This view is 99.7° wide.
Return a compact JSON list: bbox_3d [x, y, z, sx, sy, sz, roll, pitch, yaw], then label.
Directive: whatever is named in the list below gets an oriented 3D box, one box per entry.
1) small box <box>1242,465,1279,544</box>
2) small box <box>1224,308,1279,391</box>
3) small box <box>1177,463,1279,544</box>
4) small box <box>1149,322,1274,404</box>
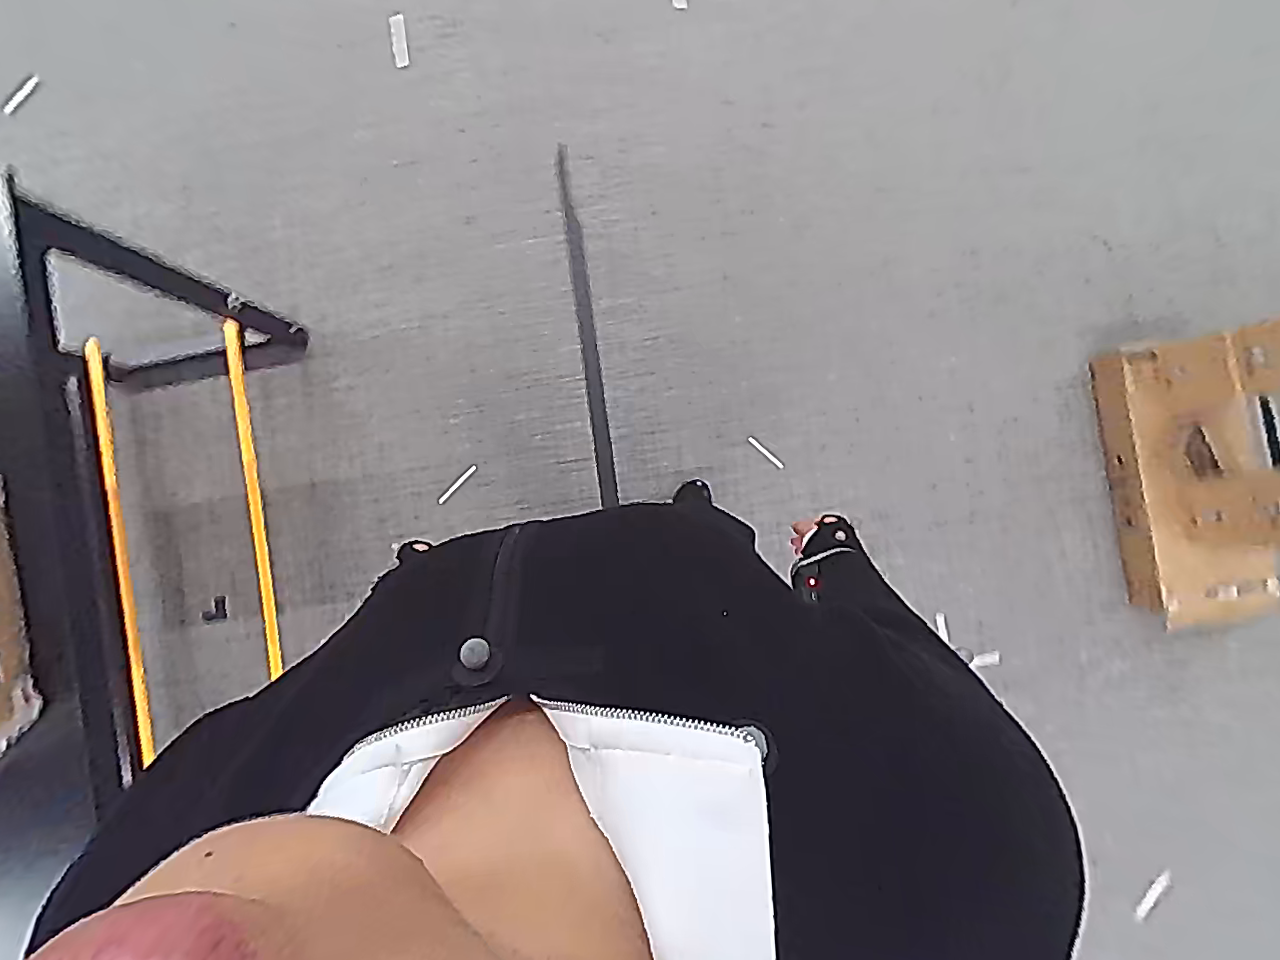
[{"bbox_3d":[1.473,0.042,1.154,0.179,0.176,0.168,-14,88,0],"label":"small box"},{"bbox_3d":[1.432,-0.296,1.156,0.179,0.176,0.168,-11,89,-1],"label":"small box"},{"bbox_3d":[1.472,0.055,1.317,0.179,0.176,0.168,-12,89,0],"label":"small box"},{"bbox_3d":[1.415,-0.289,1.320,0.179,0.176,0.168,-10,89,-1],"label":"small box"}]
